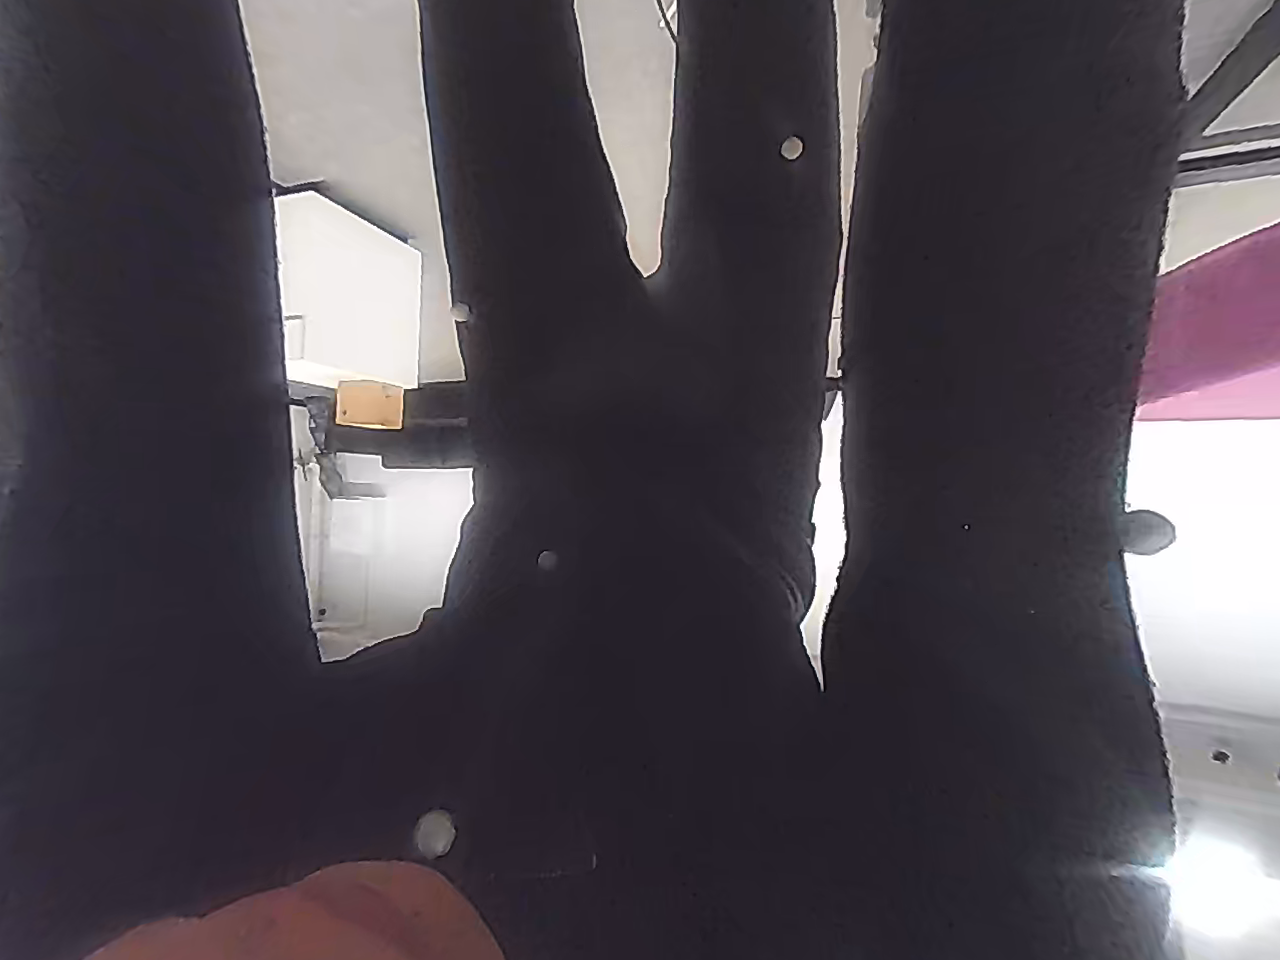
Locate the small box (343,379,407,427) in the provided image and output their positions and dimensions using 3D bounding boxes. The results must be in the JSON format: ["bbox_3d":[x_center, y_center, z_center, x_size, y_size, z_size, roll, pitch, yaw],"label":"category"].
[{"bbox_3d":[-1.055,-0.309,2.168,0.179,0.176,0.168,3,-179,21],"label":"small box"}]
